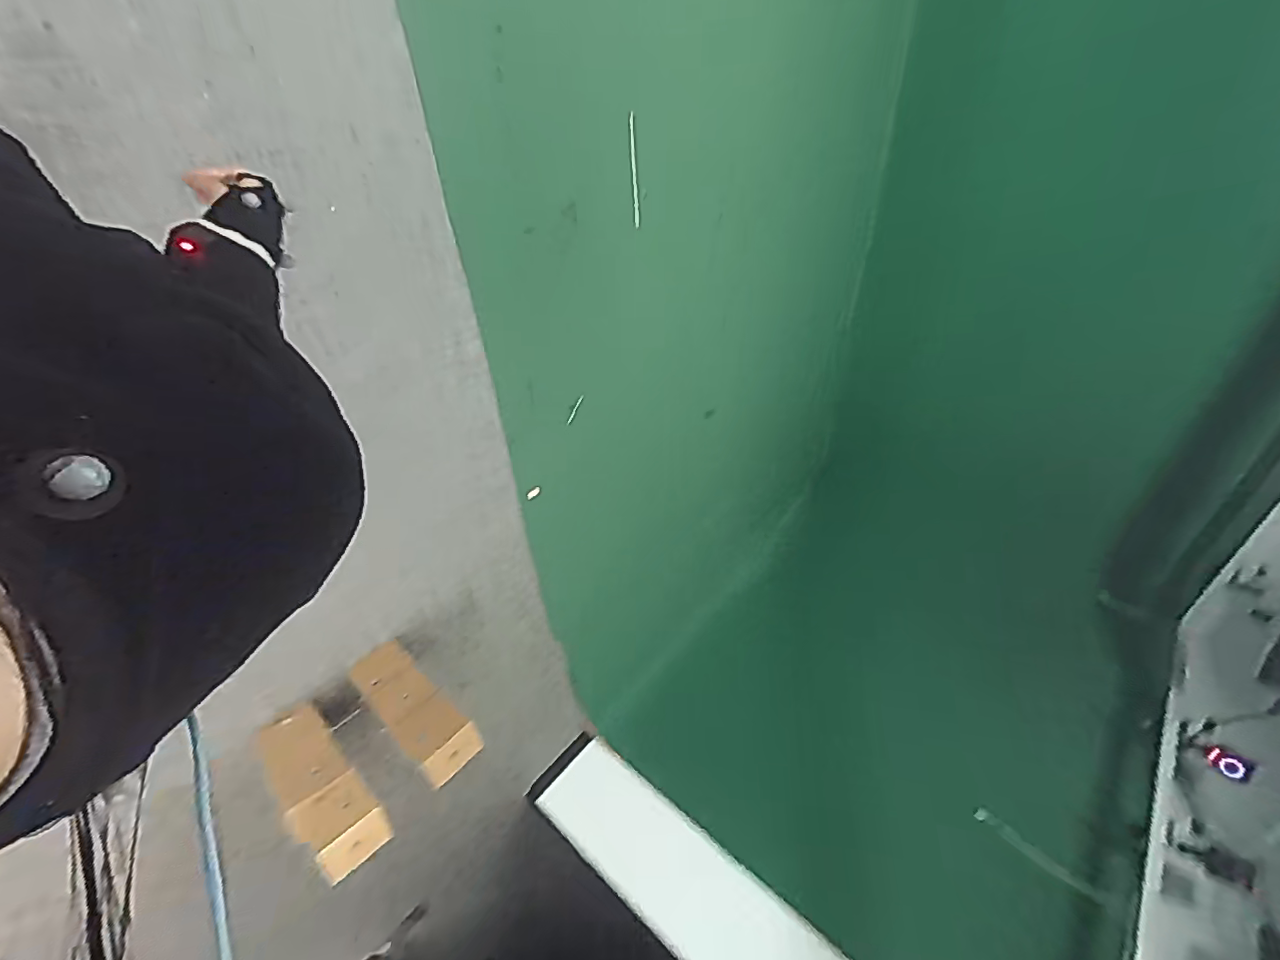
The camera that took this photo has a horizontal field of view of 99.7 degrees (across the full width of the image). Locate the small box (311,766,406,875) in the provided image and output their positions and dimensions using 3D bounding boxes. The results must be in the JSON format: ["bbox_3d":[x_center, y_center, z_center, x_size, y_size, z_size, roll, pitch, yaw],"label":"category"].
[{"bbox_3d":[-0.798,0.952,1.533,0.168,0.176,0.179,-31,134,-40],"label":"small box"}]

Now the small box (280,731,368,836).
[{"bbox_3d":[-0.928,0.894,1.613,0.179,0.176,0.168,-29,132,-42],"label":"small box"}]

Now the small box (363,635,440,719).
[{"bbox_3d":[-0.839,0.684,1.891,0.179,0.176,0.168,-37,138,-35],"label":"small box"}]

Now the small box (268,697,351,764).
[{"bbox_3d":[-1.041,0.832,1.717,0.168,0.176,0.179,-29,132,-42],"label":"small box"}]

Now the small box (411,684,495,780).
[{"bbox_3d":[-0.592,0.789,1.702,0.179,0.176,0.168,-38,139,-35],"label":"small box"}]
